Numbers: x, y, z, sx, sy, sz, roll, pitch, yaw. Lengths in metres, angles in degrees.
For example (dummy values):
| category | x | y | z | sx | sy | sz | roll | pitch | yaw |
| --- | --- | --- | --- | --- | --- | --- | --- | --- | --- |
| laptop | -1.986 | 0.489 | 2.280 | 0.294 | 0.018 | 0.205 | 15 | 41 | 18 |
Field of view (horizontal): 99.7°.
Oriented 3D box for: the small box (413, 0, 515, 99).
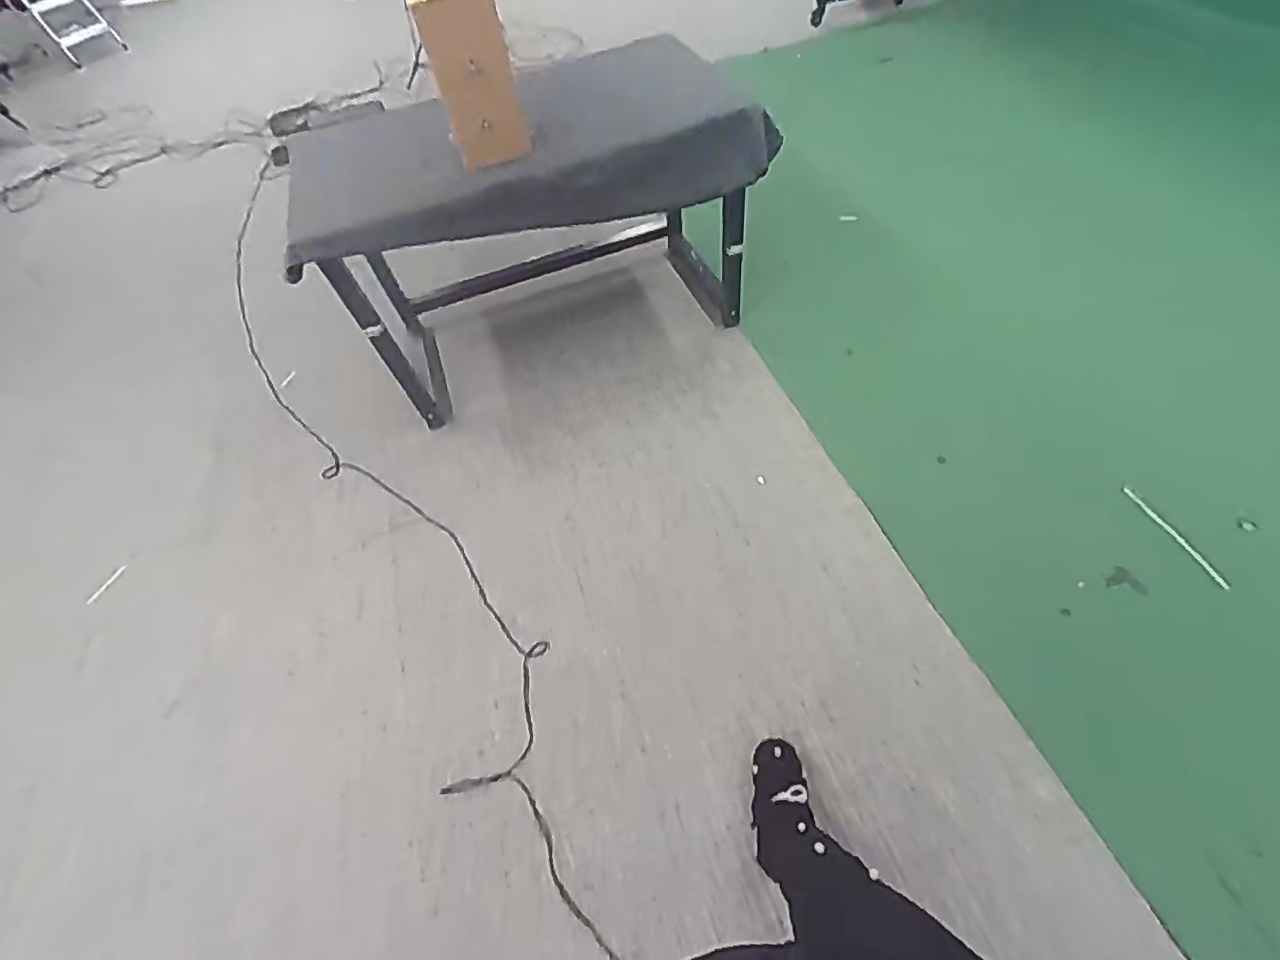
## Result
| category | x | y | z | sx | sy | sz | roll | pitch | yaw |
| --- | --- | --- | --- | --- | --- | --- | --- | --- | --- |
| small box | -0.391 | -0.998 | 1.217 | 0.179 | 0.176 | 0.168 | -19 | 56 | -6 |

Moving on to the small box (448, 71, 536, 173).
| category | x | y | z | sx | sy | sz | roll | pitch | yaw |
| --- | --- | --- | --- | --- | --- | --- | --- | --- | --- |
| small box | -0.370 | -0.905 | 1.349 | 0.179 | 0.176 | 0.168 | -22 | 57 | -8 |
